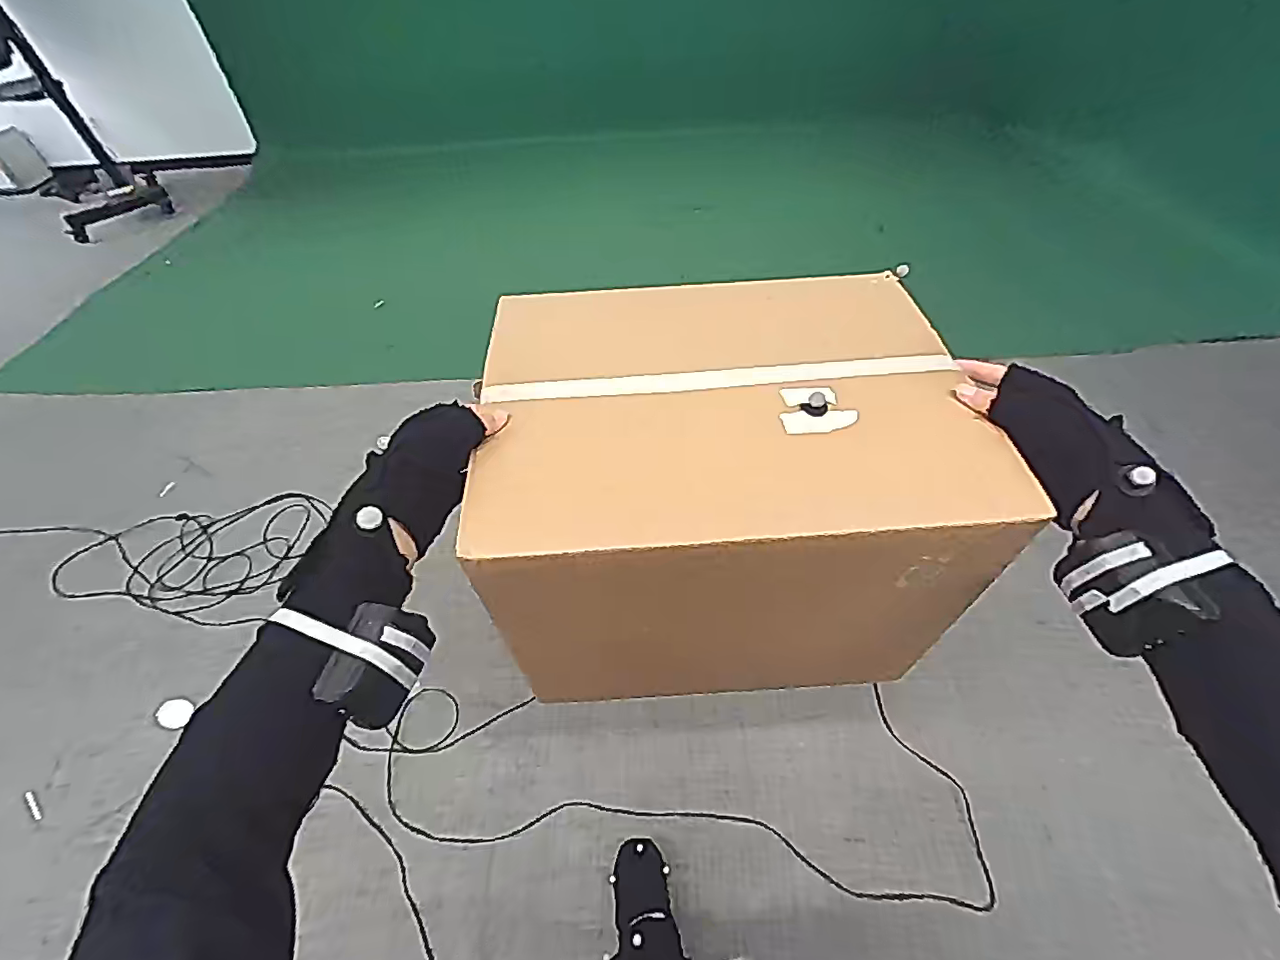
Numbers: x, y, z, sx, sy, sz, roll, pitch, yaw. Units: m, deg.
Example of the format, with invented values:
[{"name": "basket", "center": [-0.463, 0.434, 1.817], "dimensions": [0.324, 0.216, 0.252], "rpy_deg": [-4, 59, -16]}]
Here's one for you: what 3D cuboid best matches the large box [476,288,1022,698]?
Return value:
[{"name": "large box", "center": [0.072, 0.019, 0.590], "dimensions": [0.408, 0.320, 0.320], "rpy_deg": [-4, 50, -1]}]
